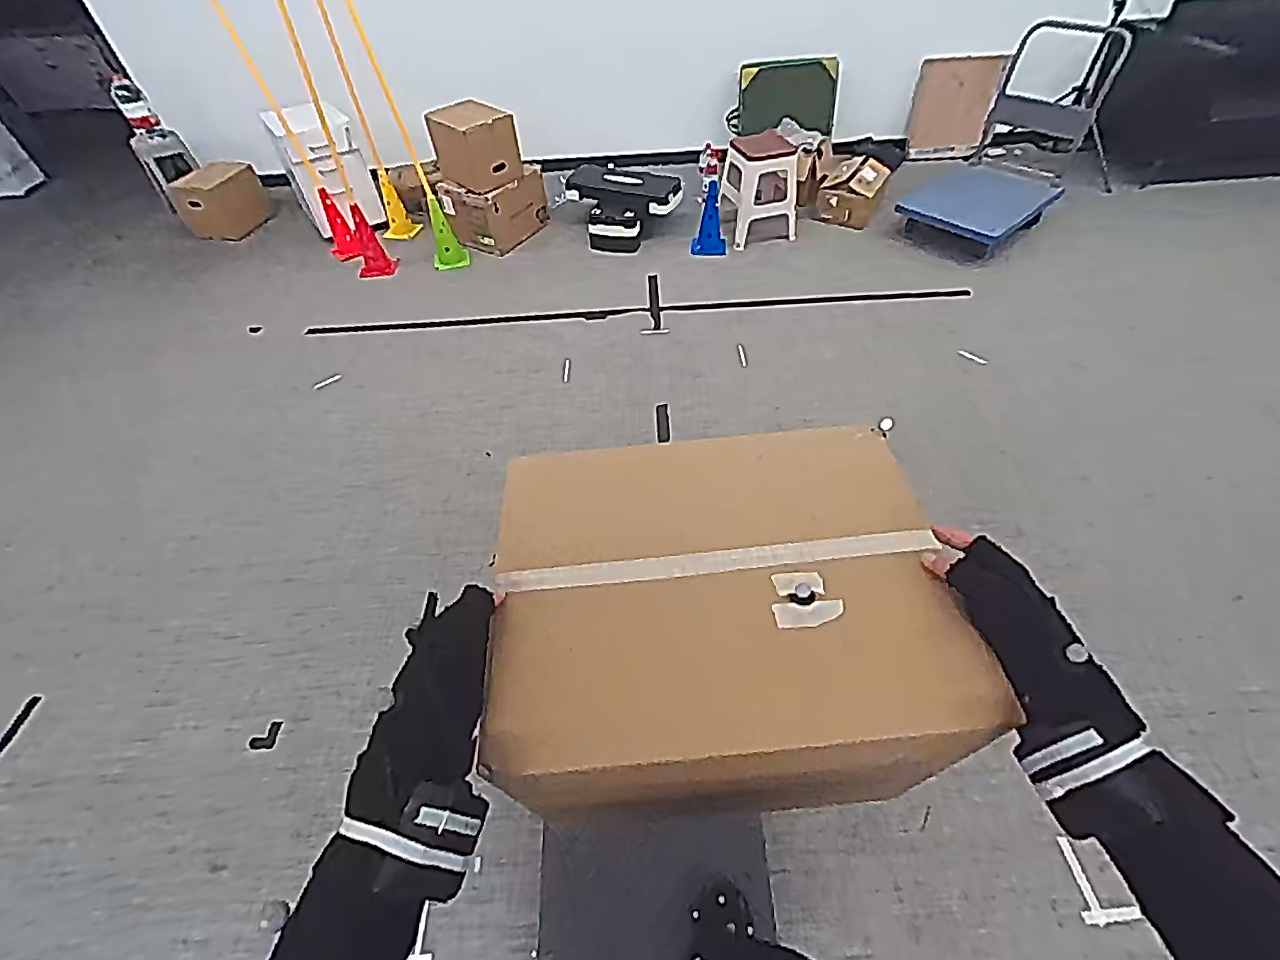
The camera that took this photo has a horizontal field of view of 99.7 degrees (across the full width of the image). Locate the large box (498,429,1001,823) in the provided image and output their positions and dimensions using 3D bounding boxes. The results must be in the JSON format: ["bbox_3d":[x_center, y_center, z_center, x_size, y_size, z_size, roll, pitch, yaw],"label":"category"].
[{"bbox_3d":[0.080,0.174,0.624,0.408,0.320,0.320,-6,51,-1],"label":"large box"}]
